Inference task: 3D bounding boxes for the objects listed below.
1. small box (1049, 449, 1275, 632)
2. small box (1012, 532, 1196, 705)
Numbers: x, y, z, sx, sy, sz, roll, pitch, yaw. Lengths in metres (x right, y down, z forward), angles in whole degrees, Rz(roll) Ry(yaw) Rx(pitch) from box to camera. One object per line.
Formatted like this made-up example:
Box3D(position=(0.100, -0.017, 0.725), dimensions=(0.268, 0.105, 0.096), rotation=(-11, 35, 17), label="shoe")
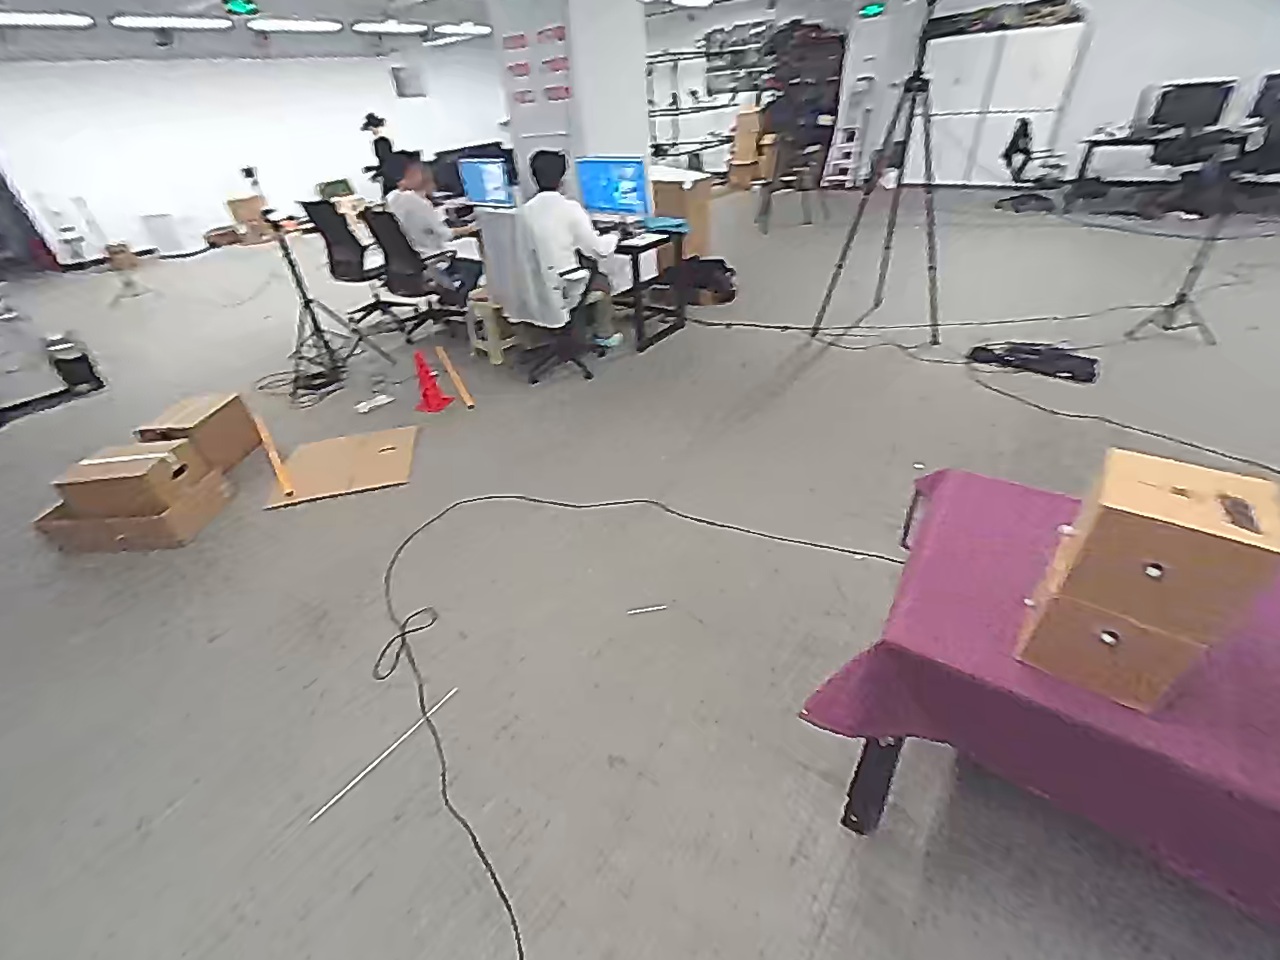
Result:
Box3D(position=(0.718, 0.085, 0.761), dimensions=(0.179, 0.176, 0.168), rotation=(20, 43, 33), label="small box")
Box3D(position=(0.724, 0.218, 0.857), dimensions=(0.179, 0.176, 0.168), rotation=(22, 44, 32), label="small box")
